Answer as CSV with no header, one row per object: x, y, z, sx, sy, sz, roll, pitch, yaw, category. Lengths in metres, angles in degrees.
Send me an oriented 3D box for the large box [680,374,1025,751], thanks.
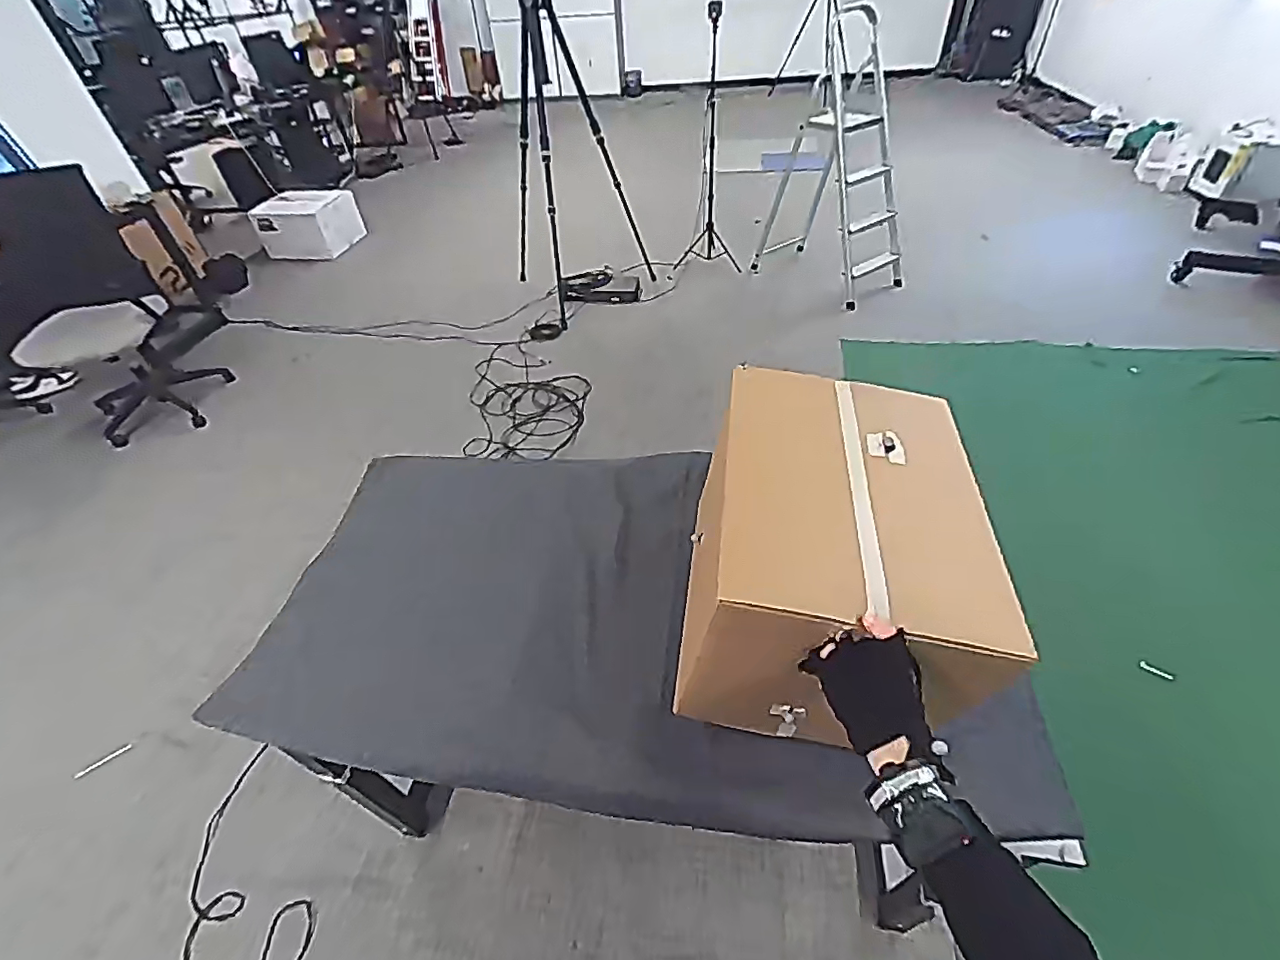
0.238,0.107,0.766,0.320,0.320,0.408,10,46,3,large box
